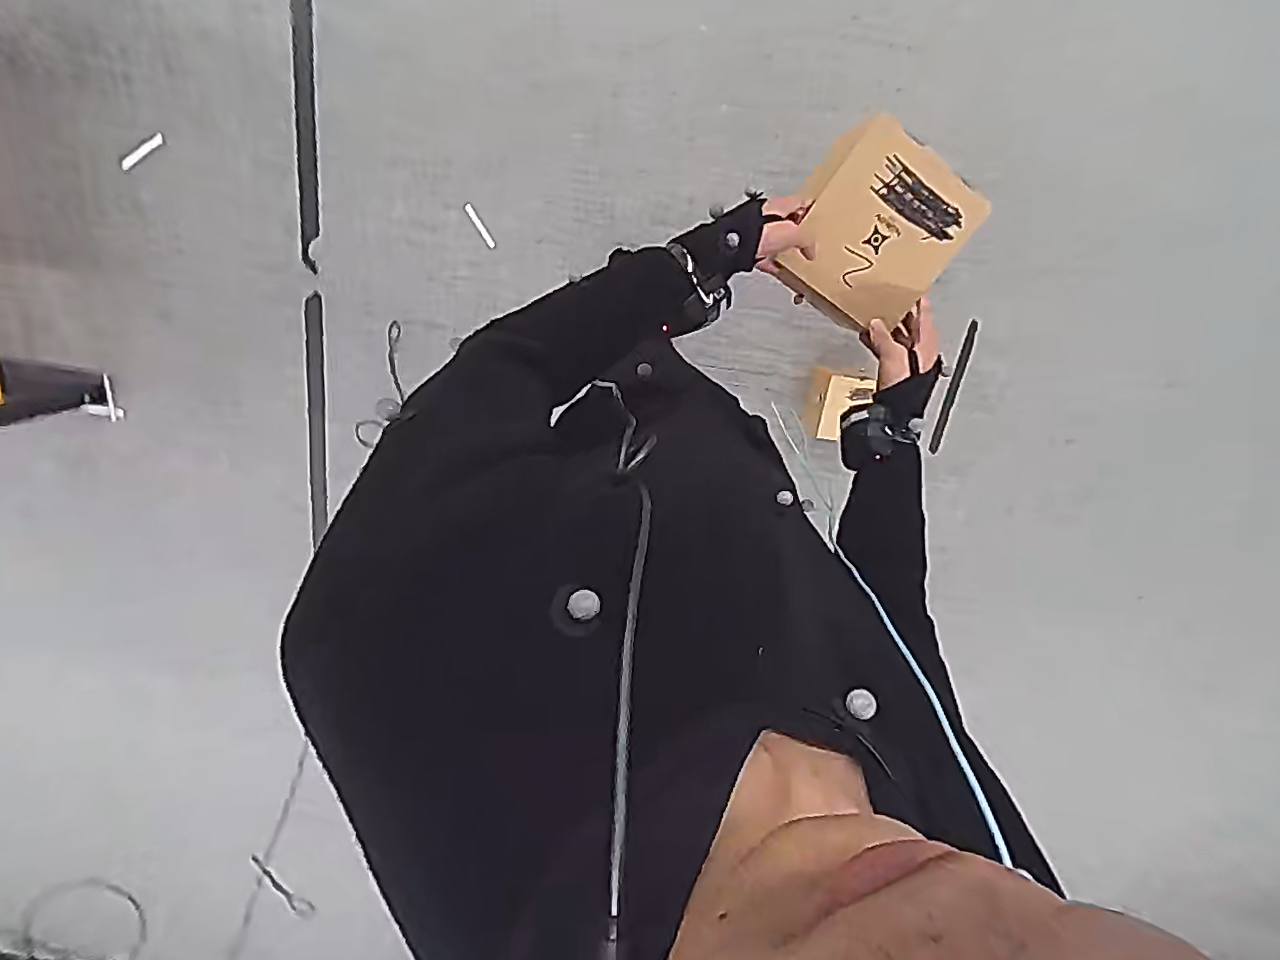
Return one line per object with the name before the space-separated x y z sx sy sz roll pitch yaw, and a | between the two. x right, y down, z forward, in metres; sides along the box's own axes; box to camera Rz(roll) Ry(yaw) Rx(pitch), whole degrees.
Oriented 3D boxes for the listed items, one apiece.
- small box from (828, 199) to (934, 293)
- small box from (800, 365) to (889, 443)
small box | 0.602 -0.589 1.381 0.168 0.176 0.179 16 109 -5
small box | 0.563 -0.219 1.518 0.168 0.176 0.179 7 111 -2
